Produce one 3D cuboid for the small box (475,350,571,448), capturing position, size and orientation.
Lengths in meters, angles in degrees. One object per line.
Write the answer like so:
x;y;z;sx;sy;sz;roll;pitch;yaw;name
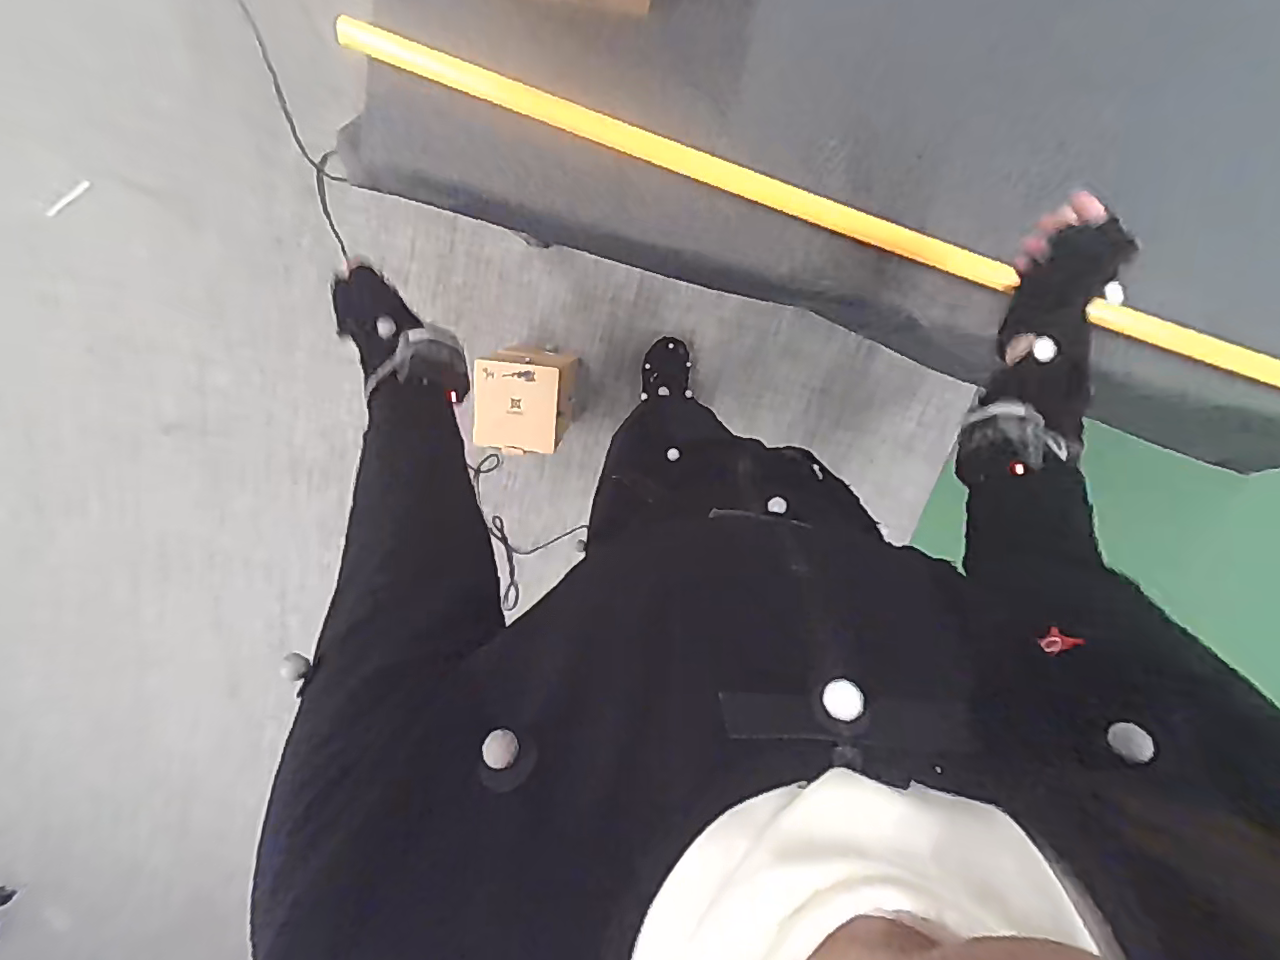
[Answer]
-0.241;-0.176;1.145;0.168;0.176;0.179;4;106;1;small box
